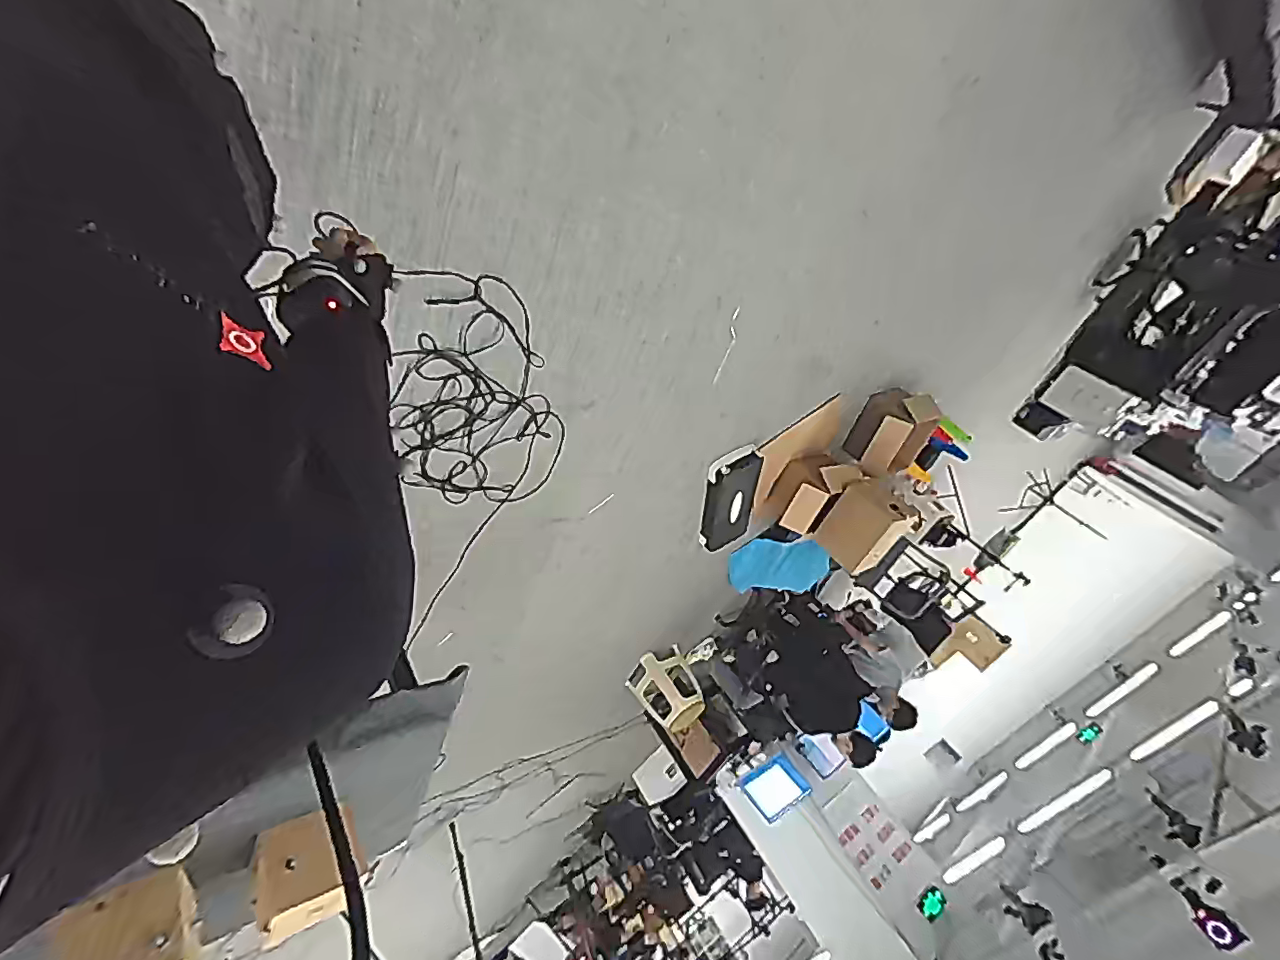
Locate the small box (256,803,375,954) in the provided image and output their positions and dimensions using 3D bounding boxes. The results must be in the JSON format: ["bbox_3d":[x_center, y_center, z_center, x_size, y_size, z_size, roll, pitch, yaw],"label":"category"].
[{"bbox_3d":[-0.697,0.837,1.153,0.179,0.176,0.168,-1,130,-46],"label":"small box"}]
